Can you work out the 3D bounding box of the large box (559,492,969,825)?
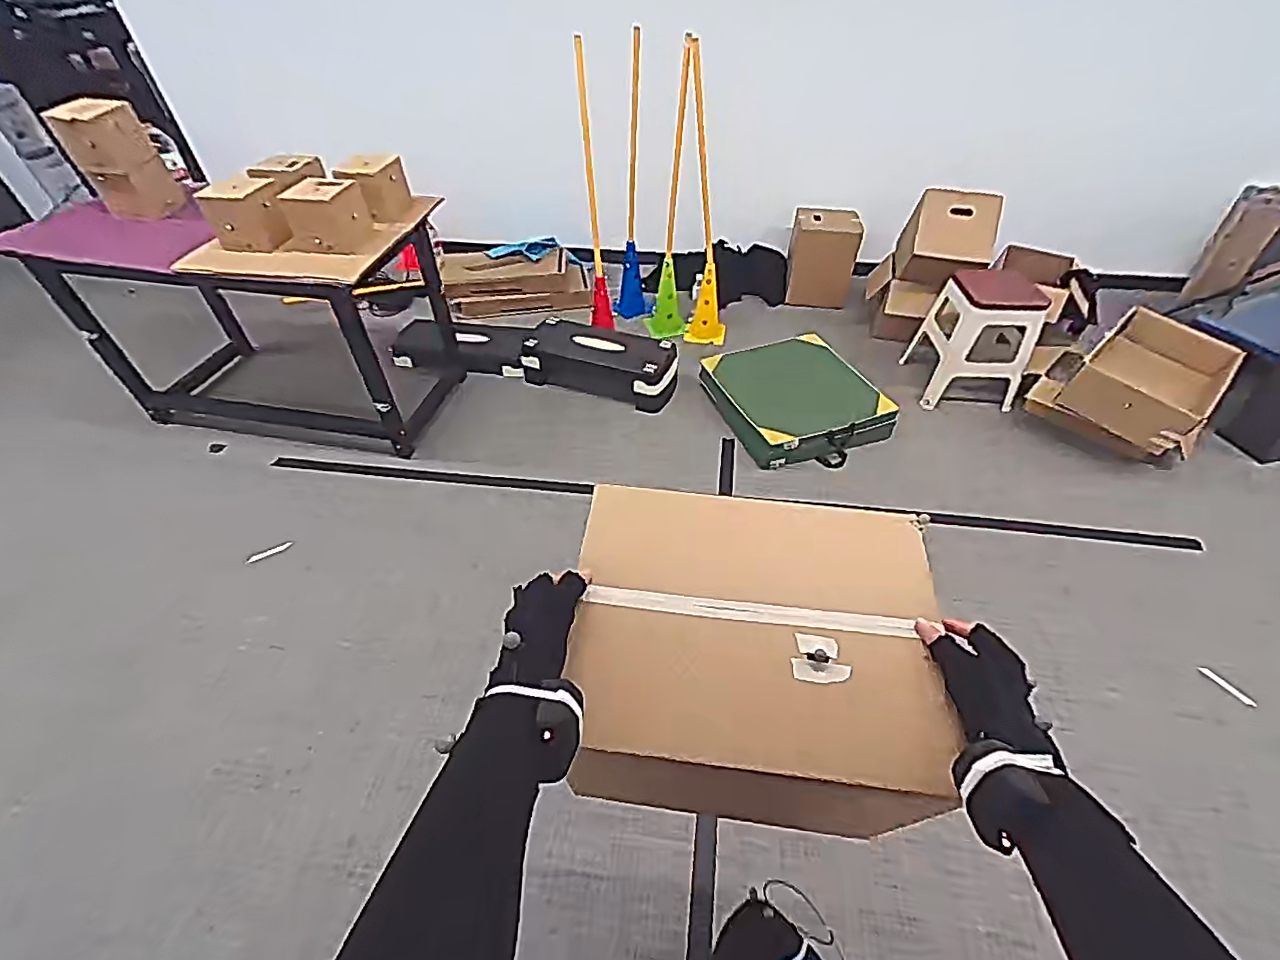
[{"bbox_3d":[0.129,0.243,0.727,0.408,0.320,0.320,6,52,4],"label":"large box"}]
